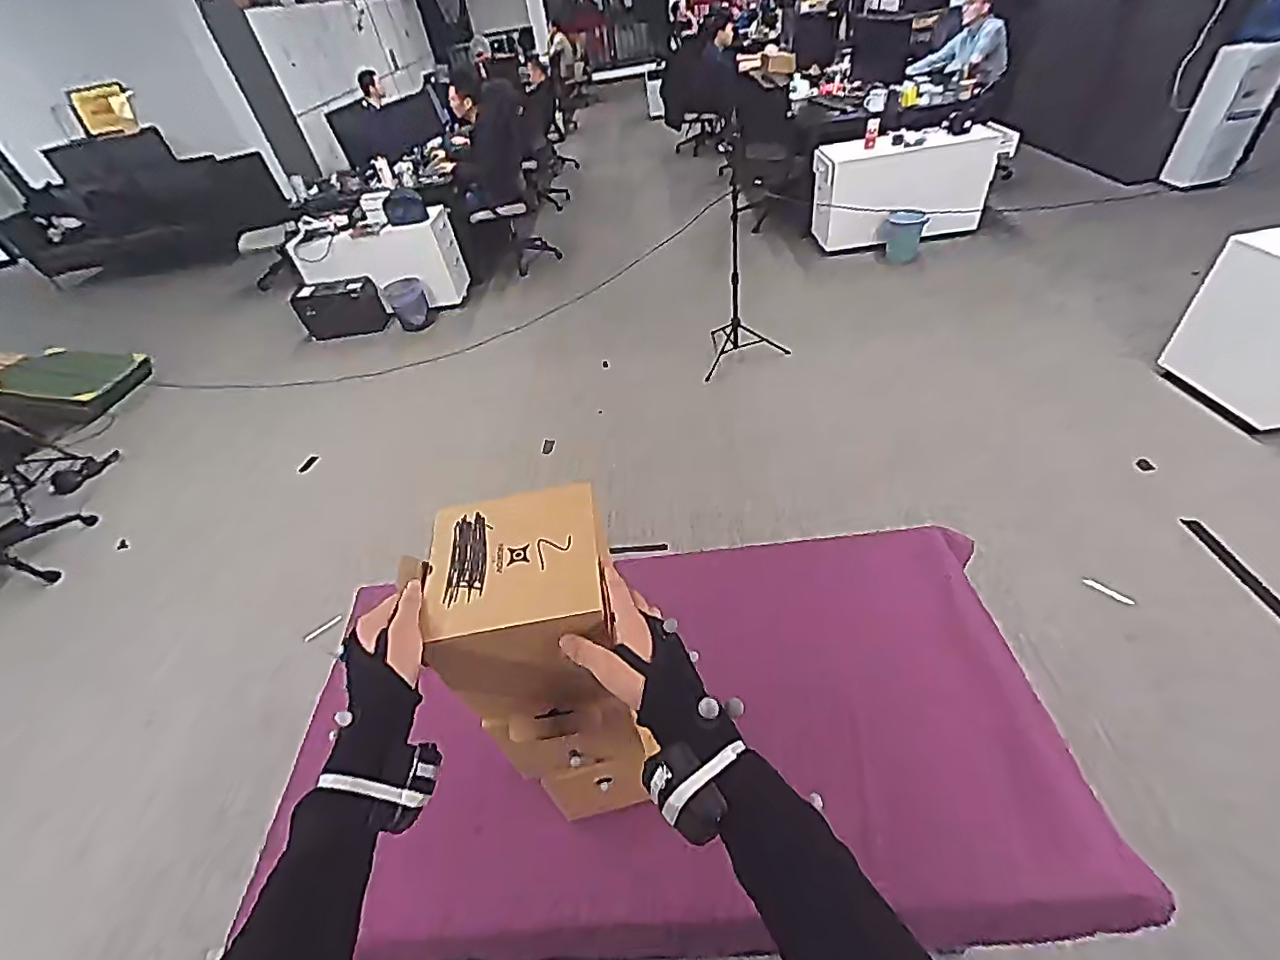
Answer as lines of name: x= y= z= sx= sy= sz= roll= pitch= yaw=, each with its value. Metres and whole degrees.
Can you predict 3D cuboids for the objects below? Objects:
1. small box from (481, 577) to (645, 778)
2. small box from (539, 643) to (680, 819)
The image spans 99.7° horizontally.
small box: x=-0.091 y=0.255 z=0.699 sx=0.168 sy=0.176 sz=0.179 roll=-10 pitch=43 yaw=1
small box: x=-0.048 y=0.375 z=0.805 sx=0.179 sy=0.176 sz=0.168 roll=-13 pitch=43 yaw=-4
